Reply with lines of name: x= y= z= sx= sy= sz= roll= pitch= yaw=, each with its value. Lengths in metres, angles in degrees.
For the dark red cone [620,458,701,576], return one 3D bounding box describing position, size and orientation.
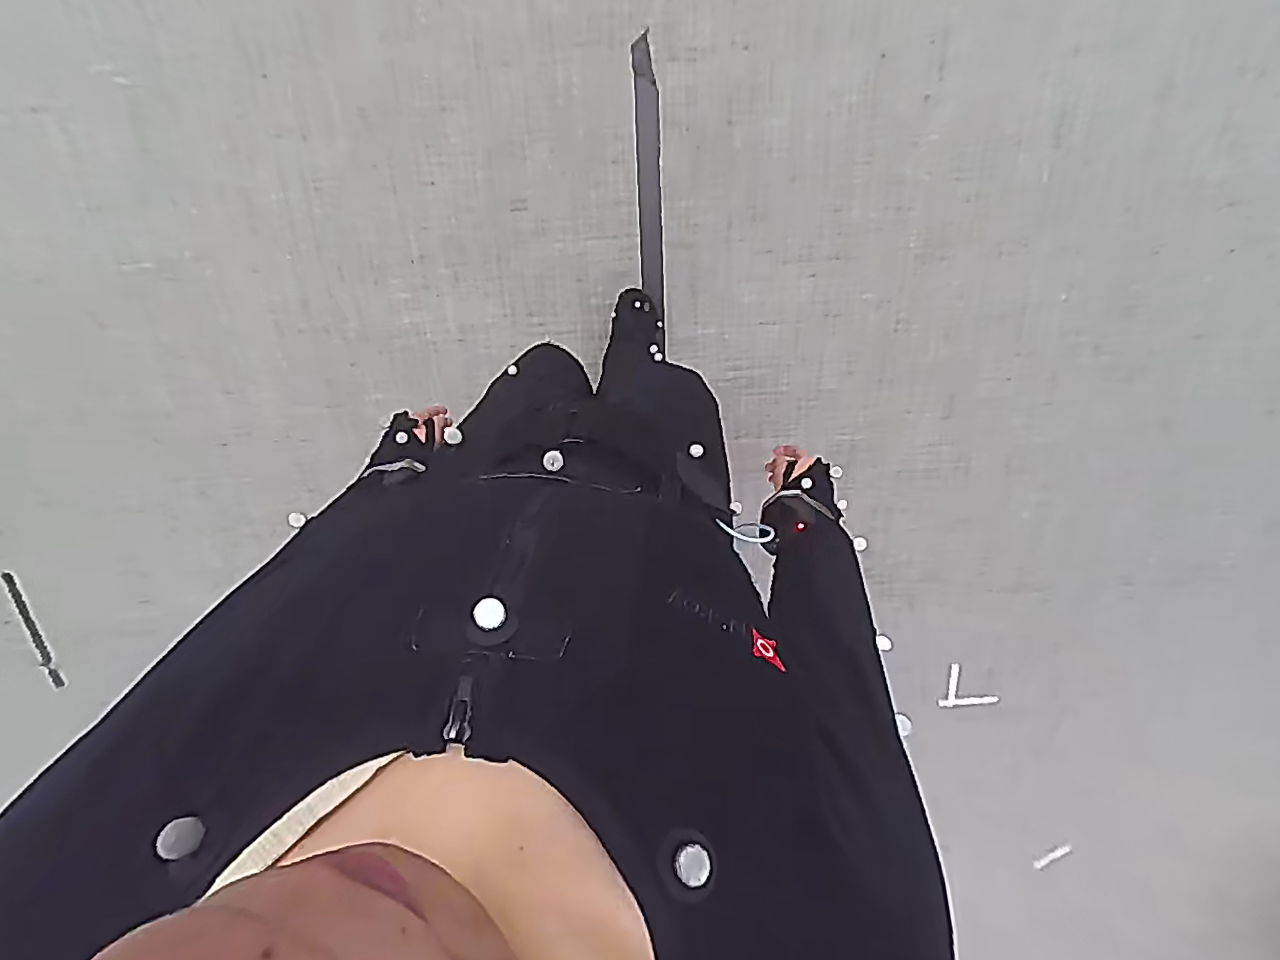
dark red cone: x=0.048 y=0.096 z=1.218 sx=0.201 sy=0.394 sz=0.202 roll=-3 pitch=111 yaw=3
